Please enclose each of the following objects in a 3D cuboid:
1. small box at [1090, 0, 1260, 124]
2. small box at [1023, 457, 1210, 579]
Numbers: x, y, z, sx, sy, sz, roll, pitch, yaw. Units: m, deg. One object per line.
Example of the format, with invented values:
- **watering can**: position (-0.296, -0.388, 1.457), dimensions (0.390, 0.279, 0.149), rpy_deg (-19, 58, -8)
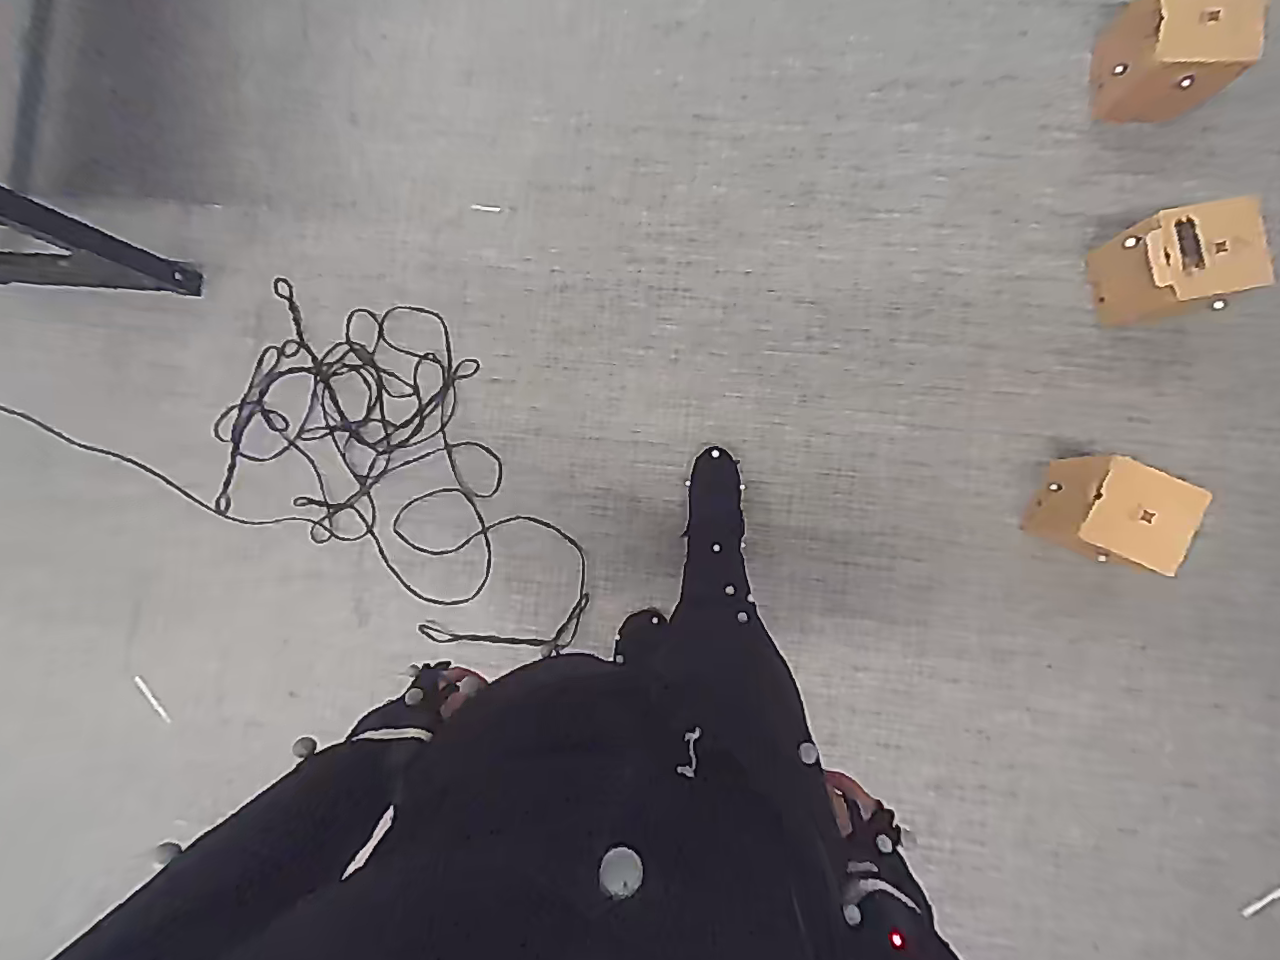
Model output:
- **small box**: position (1.019, -0.822, 1.046), dimensions (0.179, 0.176, 0.168), rpy_deg (2, 90, 4)
- **small box**: position (0.892, 0.066, 1.031), dimensions (0.179, 0.176, 0.168), rpy_deg (25, 91, 5)
